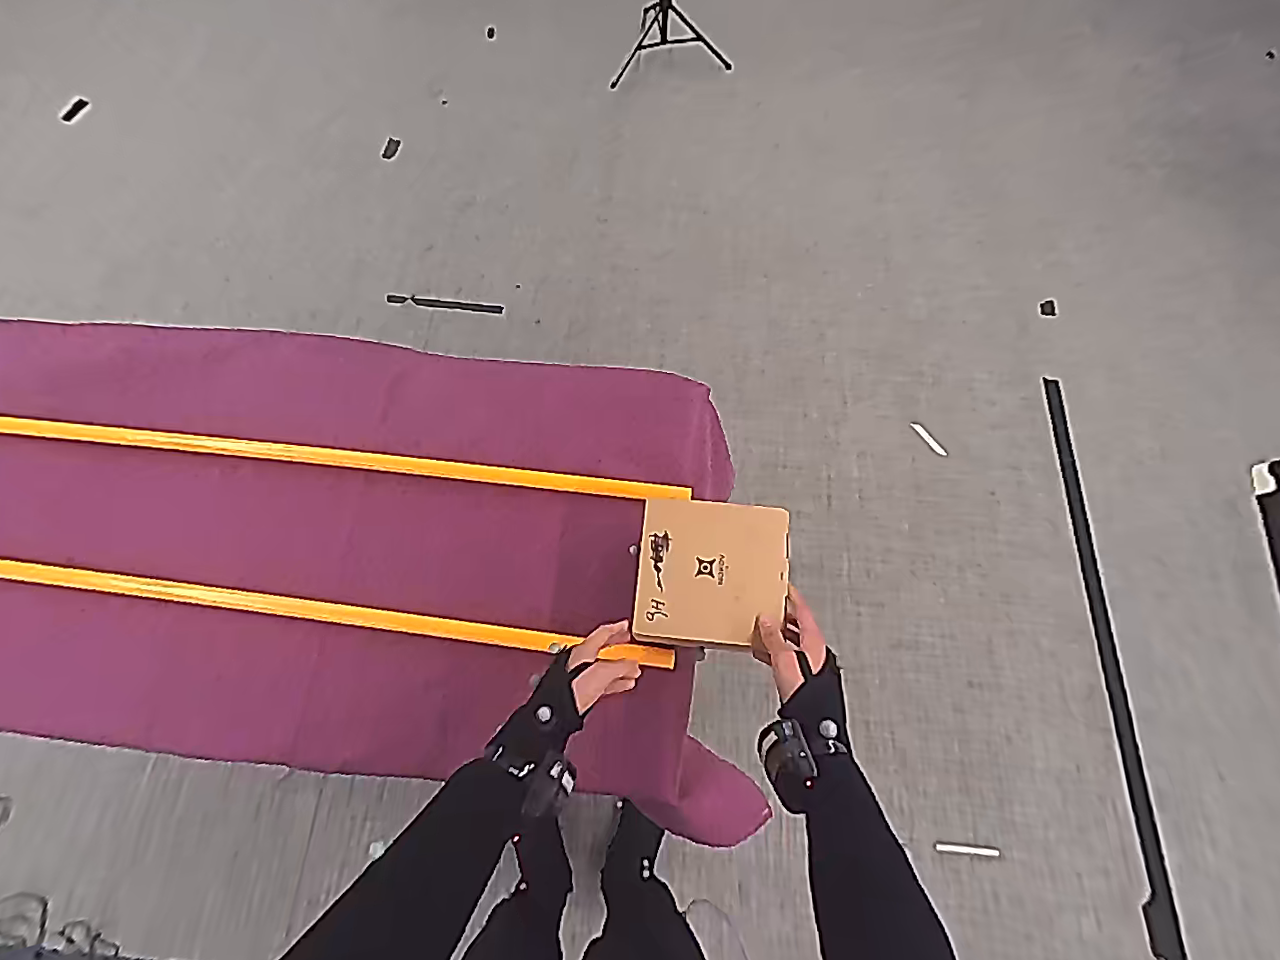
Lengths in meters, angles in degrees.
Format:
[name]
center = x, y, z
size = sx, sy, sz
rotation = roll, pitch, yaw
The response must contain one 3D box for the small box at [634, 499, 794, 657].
[small box]
center = 0.090, 0.134, 0.702
size = 0.179, 0.176, 0.168
rotation = 6, 71, 4
